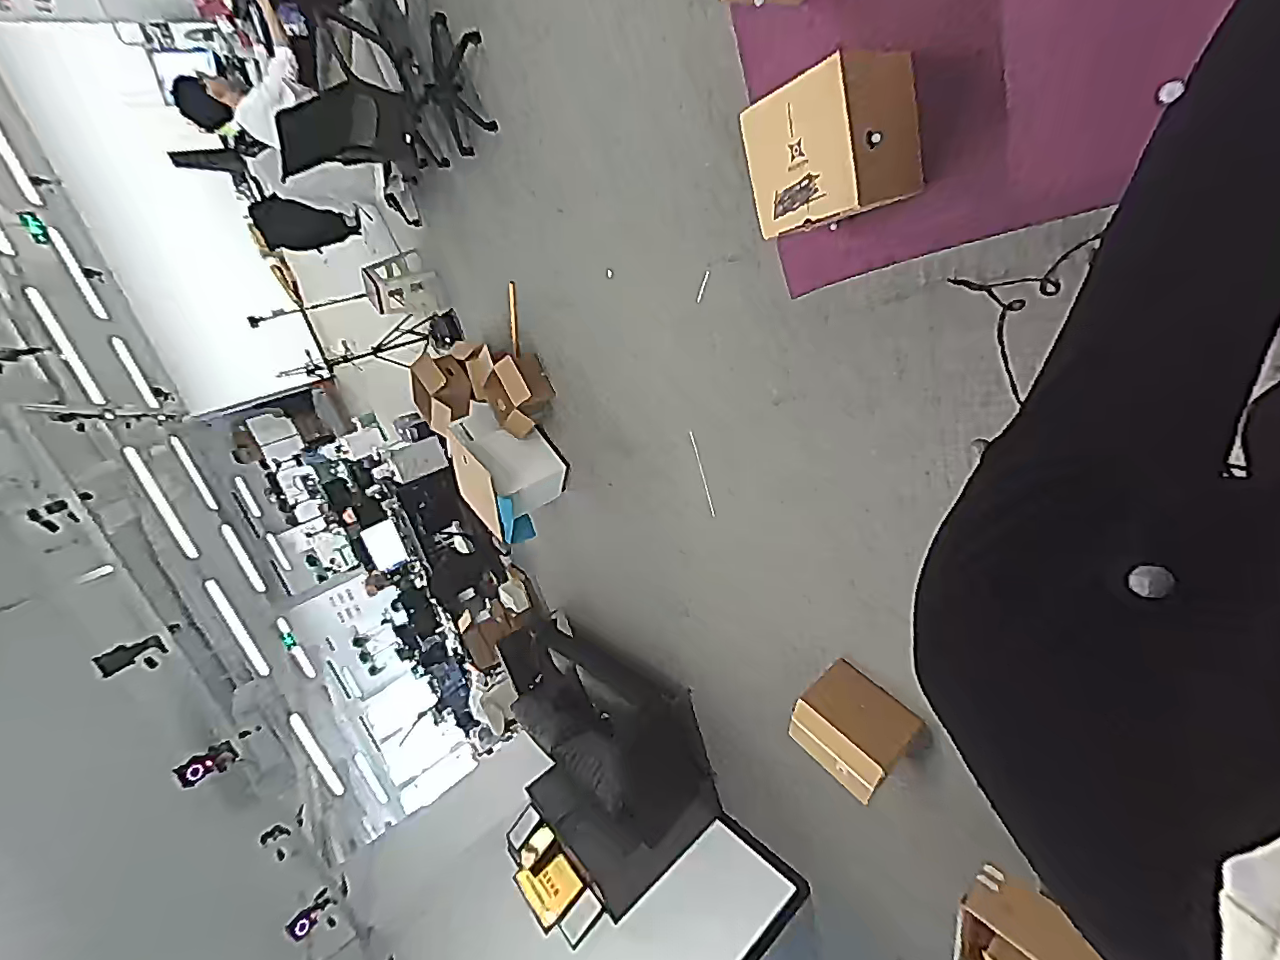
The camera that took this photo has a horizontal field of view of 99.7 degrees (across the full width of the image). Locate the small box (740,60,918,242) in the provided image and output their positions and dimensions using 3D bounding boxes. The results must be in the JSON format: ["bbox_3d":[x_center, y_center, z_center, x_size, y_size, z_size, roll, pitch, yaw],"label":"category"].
[{"bbox_3d":[0.275,-0.464,0.772,0.168,0.176,0.179,9,120,53],"label":"small box"}]

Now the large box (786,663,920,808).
[{"bbox_3d":[0.906,1.088,2.338,0.408,0.320,0.320,34,140,37],"label":"large box"}]

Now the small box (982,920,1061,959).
[{"bbox_3d":[1.135,1.480,1.607,0.168,0.176,0.179,20,128,49],"label":"small box"}]
